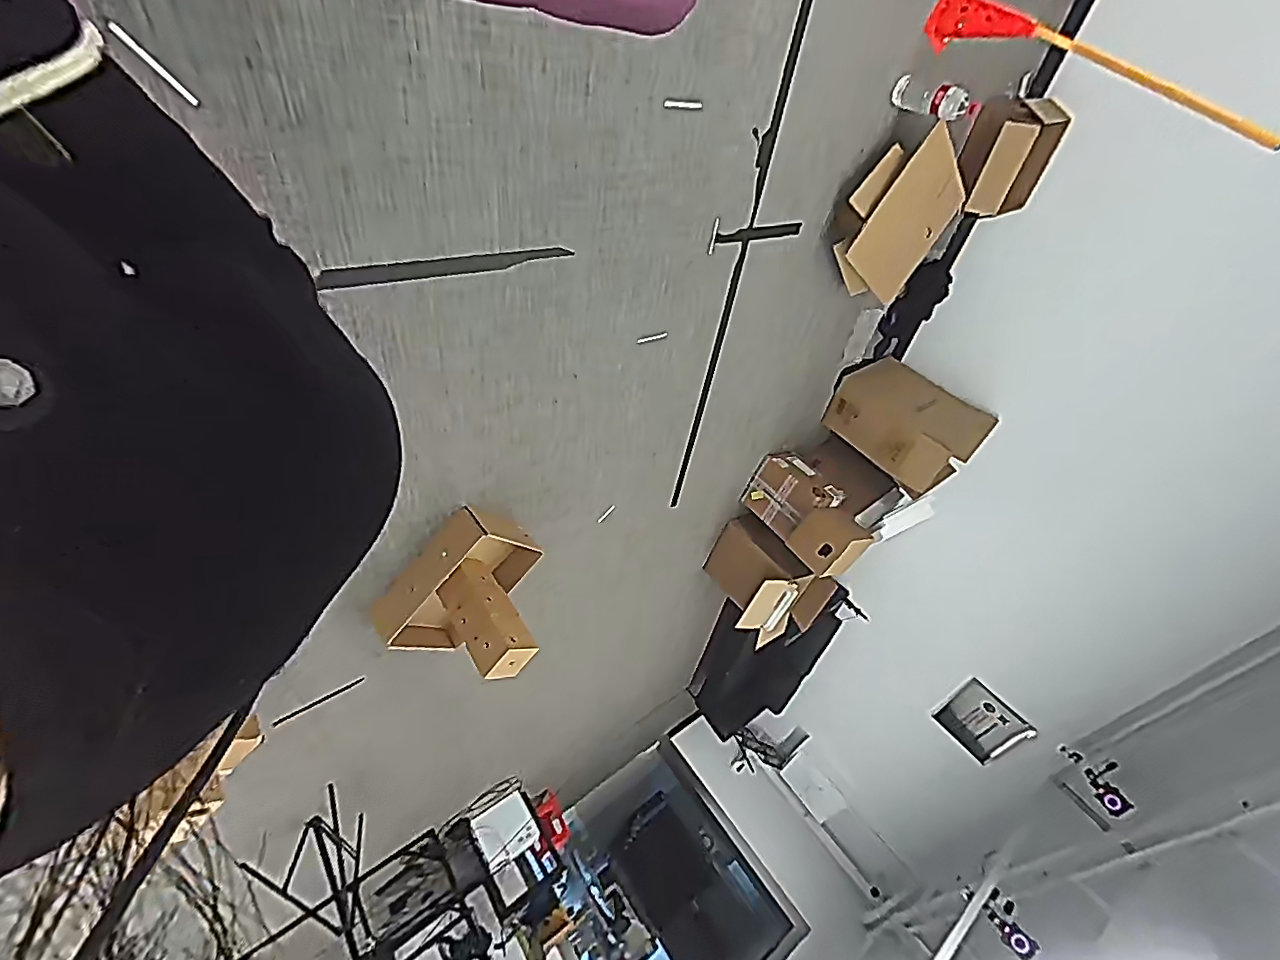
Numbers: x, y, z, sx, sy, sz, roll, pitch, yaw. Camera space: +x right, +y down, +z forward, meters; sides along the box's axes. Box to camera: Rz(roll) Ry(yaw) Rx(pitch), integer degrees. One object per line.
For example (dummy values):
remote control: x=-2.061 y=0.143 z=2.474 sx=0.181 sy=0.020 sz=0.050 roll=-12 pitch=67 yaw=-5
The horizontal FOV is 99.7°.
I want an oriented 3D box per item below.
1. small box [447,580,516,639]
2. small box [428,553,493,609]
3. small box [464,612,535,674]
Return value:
small box: x=-0.646 y=0.523 z=2.185 sx=0.168 sy=0.176 sz=0.179 roll=-48 pitch=150 yaw=10
small box: x=-0.748 y=0.427 z=2.266 sx=0.168 sy=0.176 sz=0.179 roll=-47 pitch=149 yaw=5
small box: x=-0.551 y=0.629 z=2.100 sx=0.168 sy=0.176 sz=0.179 roll=-48 pitch=149 yaw=10
